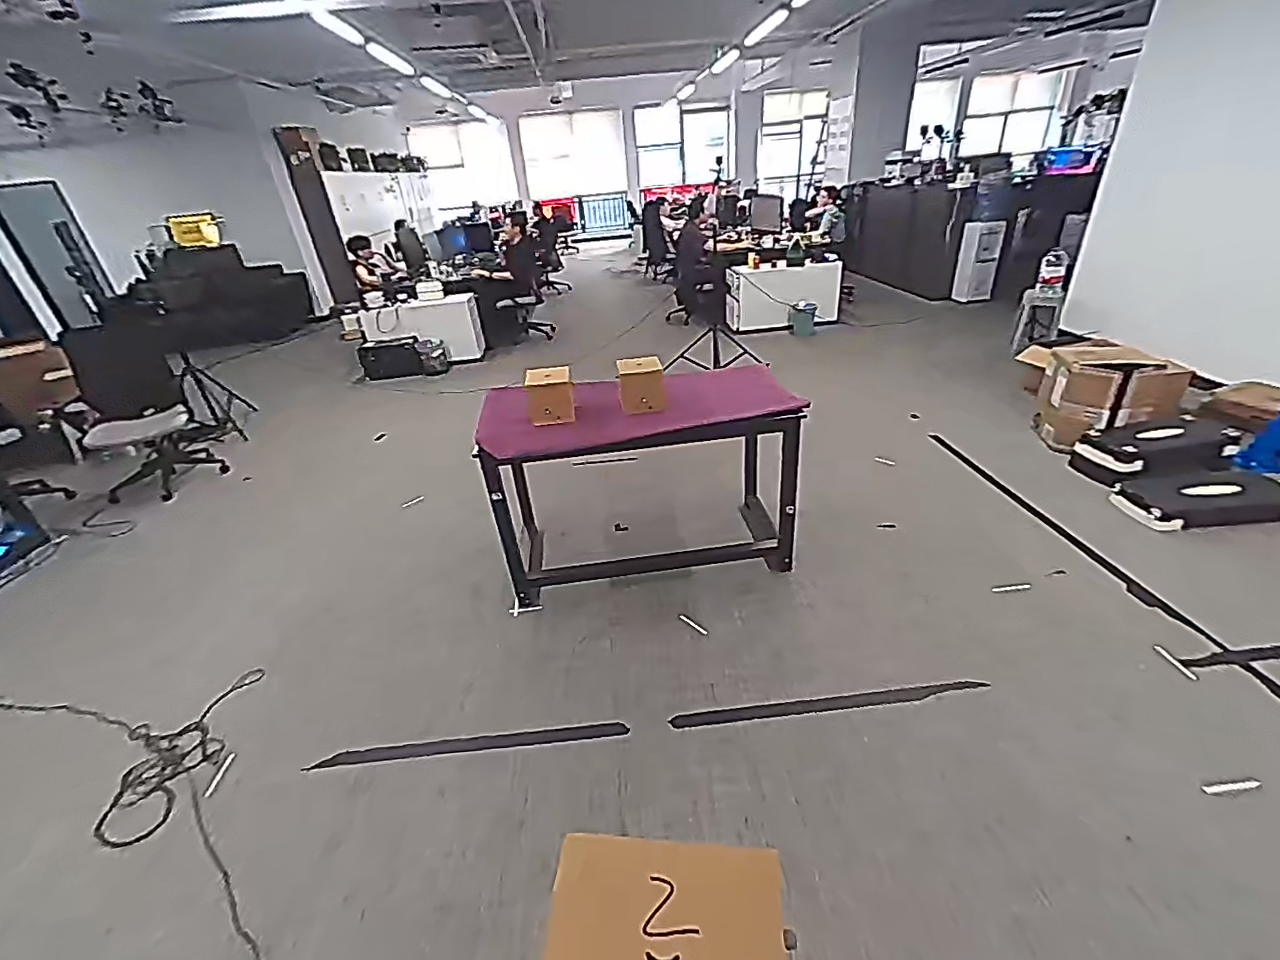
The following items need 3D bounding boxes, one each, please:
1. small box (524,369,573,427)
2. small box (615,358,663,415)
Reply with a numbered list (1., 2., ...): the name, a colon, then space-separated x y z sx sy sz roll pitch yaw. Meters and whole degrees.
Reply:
1. small box: -0.355 -0.321 2.108 0.168 0.176 0.179 -7 31 -5
2. small box: -0.005 -0.369 2.130 0.168 0.176 0.179 -8 30 -3
